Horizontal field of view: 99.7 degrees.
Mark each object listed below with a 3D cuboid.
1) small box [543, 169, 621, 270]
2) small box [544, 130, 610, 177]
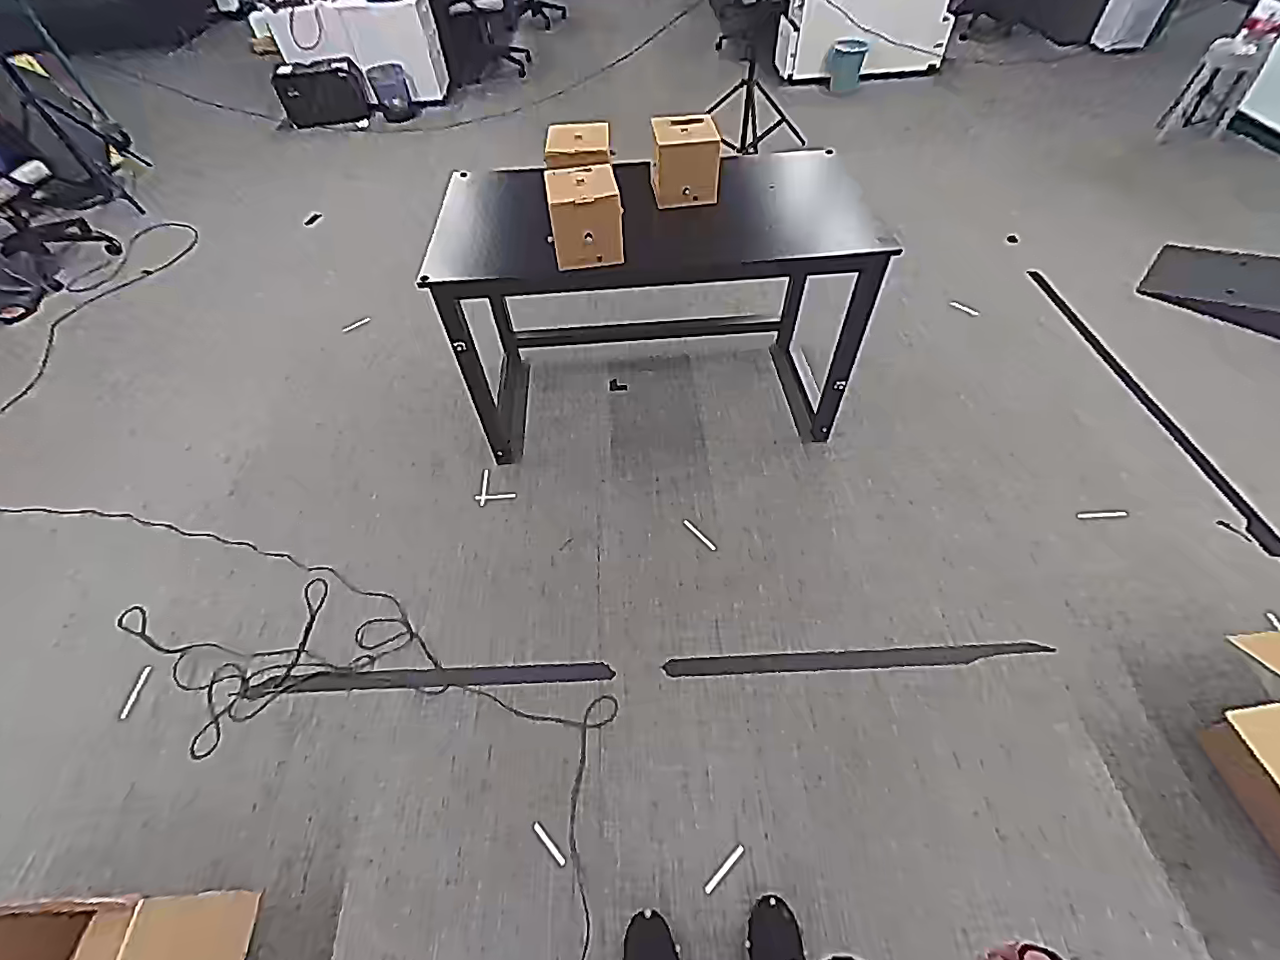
[{"bbox_3d":[-0.142,-0.639,1.343,0.168,0.176,0.179,-9,53,-4],"label":"small box"},{"bbox_3d":[-0.167,-0.851,1.511,0.168,0.176,0.179,-3,53,0],"label":"small box"}]
